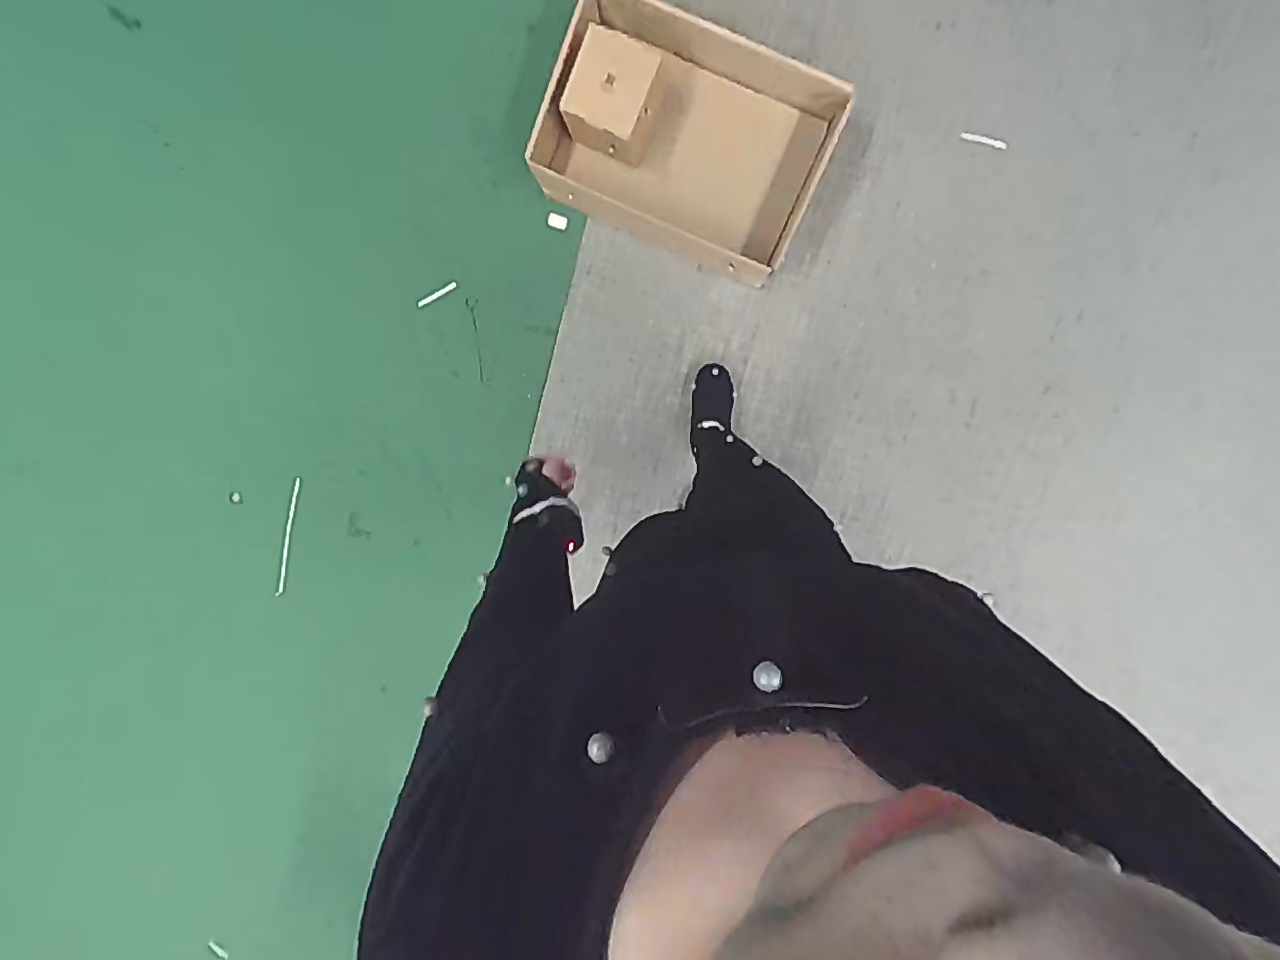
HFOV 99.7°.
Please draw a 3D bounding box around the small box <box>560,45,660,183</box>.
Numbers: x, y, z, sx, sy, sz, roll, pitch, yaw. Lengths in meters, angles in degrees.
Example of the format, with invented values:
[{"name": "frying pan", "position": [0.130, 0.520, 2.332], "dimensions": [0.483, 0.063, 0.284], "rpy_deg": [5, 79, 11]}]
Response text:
[{"name": "small box", "position": [-0.059, -0.812, 1.222], "dimensions": [0.168, 0.176, 0.179], "rpy_deg": [25, 100, -1]}]
